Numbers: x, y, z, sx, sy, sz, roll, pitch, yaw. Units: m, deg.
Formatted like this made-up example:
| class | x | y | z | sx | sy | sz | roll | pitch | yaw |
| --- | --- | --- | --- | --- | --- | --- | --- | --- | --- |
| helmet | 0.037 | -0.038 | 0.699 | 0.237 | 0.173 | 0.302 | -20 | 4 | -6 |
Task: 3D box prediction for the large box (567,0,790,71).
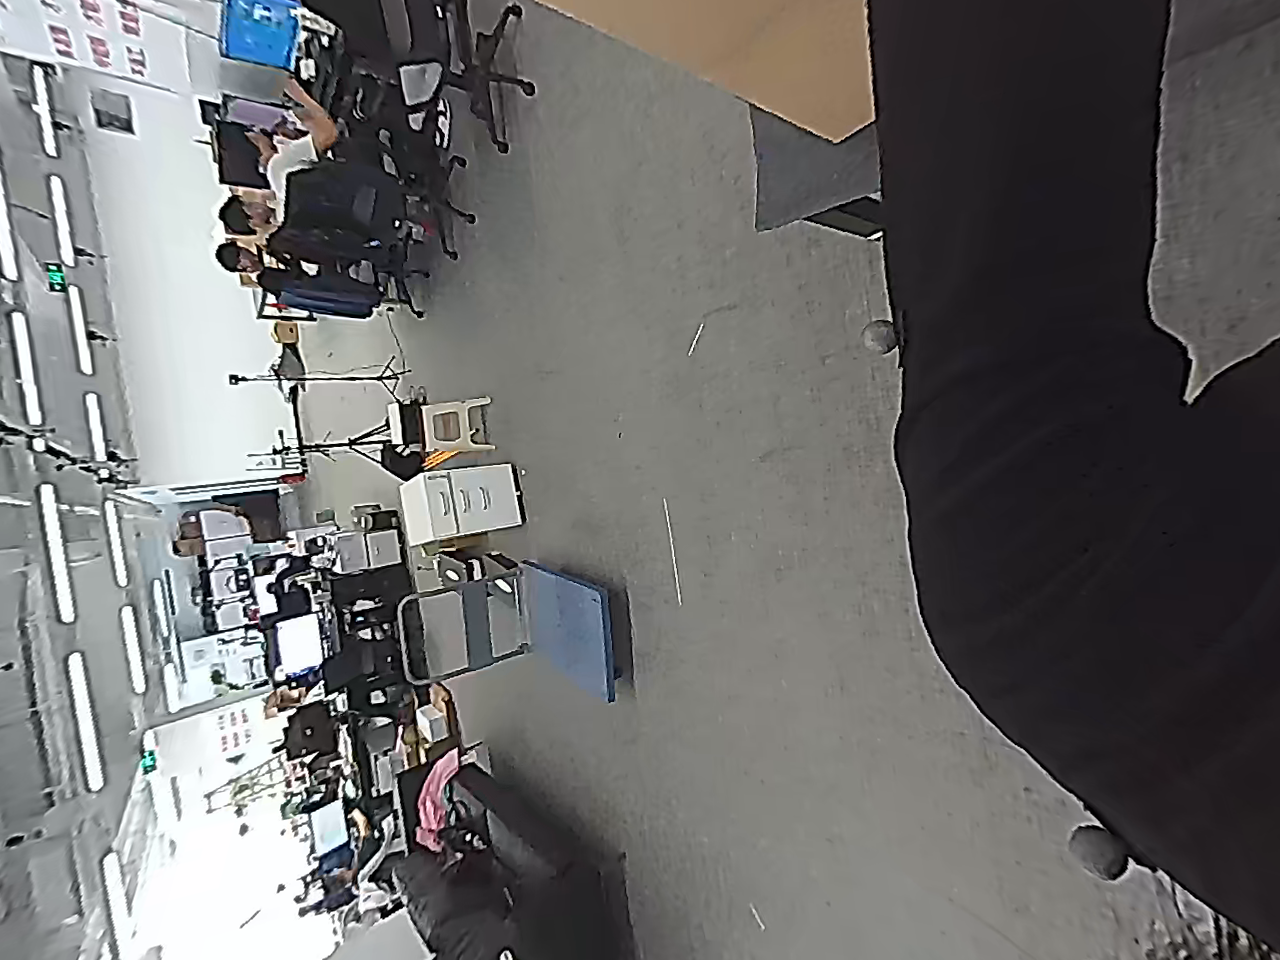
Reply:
| class | x | y | z | sx | sy | sz | roll | pitch | yaw |
| --- | --- | --- | --- | --- | --- | --- | --- | --- | --- |
| large box | 0.069 | -0.619 | 0.387 | 0.408 | 0.320 | 0.320 | -4 | 95 | 50 |
